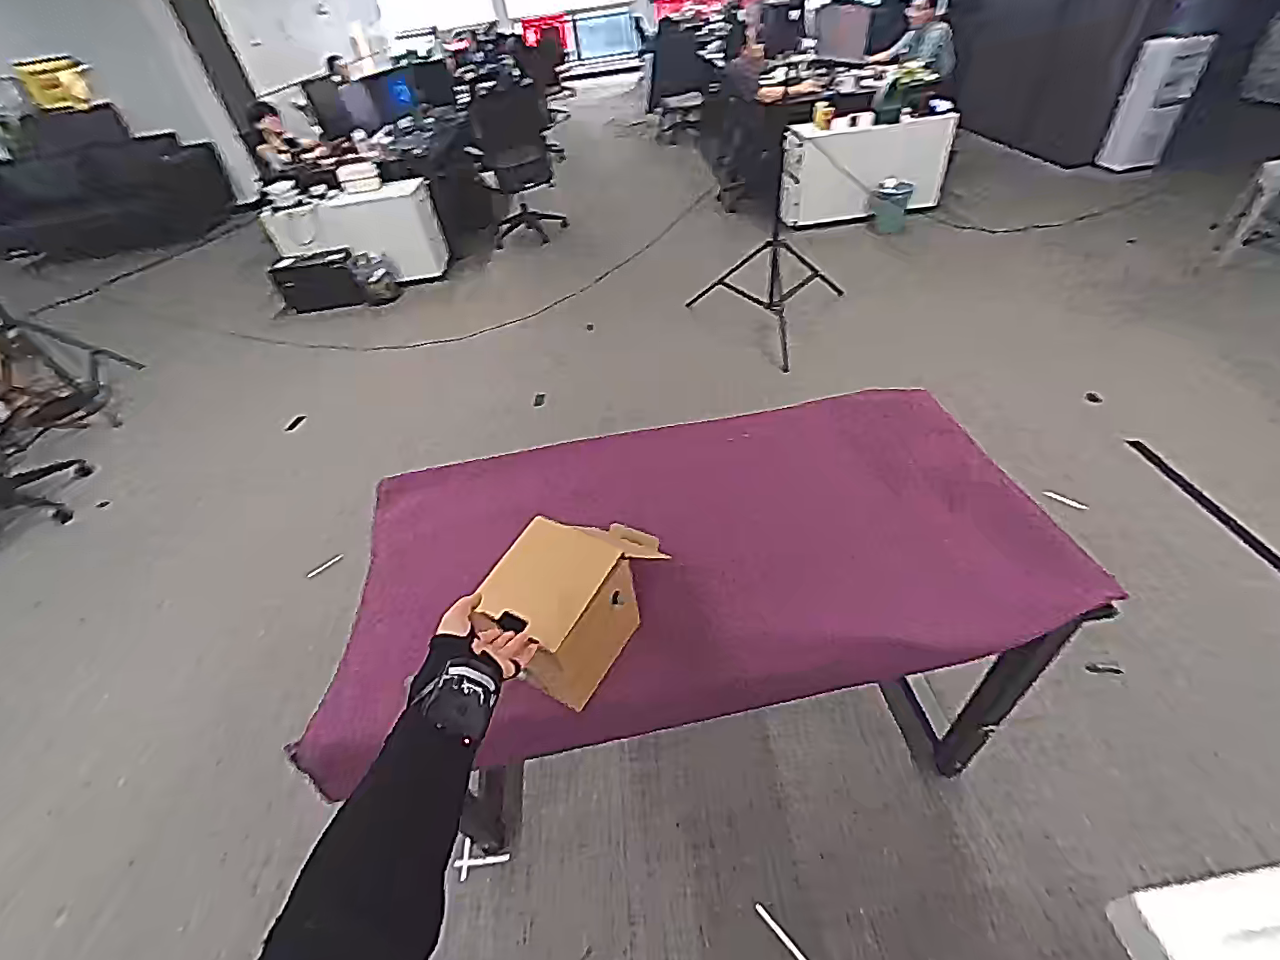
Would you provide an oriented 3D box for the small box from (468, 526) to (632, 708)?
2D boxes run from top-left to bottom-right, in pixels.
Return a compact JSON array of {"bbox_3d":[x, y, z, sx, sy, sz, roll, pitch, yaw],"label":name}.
[{"bbox_3d":[-0.124,0.206,0.826,0.168,0.176,0.179,17,48,27],"label":"small box"}]
